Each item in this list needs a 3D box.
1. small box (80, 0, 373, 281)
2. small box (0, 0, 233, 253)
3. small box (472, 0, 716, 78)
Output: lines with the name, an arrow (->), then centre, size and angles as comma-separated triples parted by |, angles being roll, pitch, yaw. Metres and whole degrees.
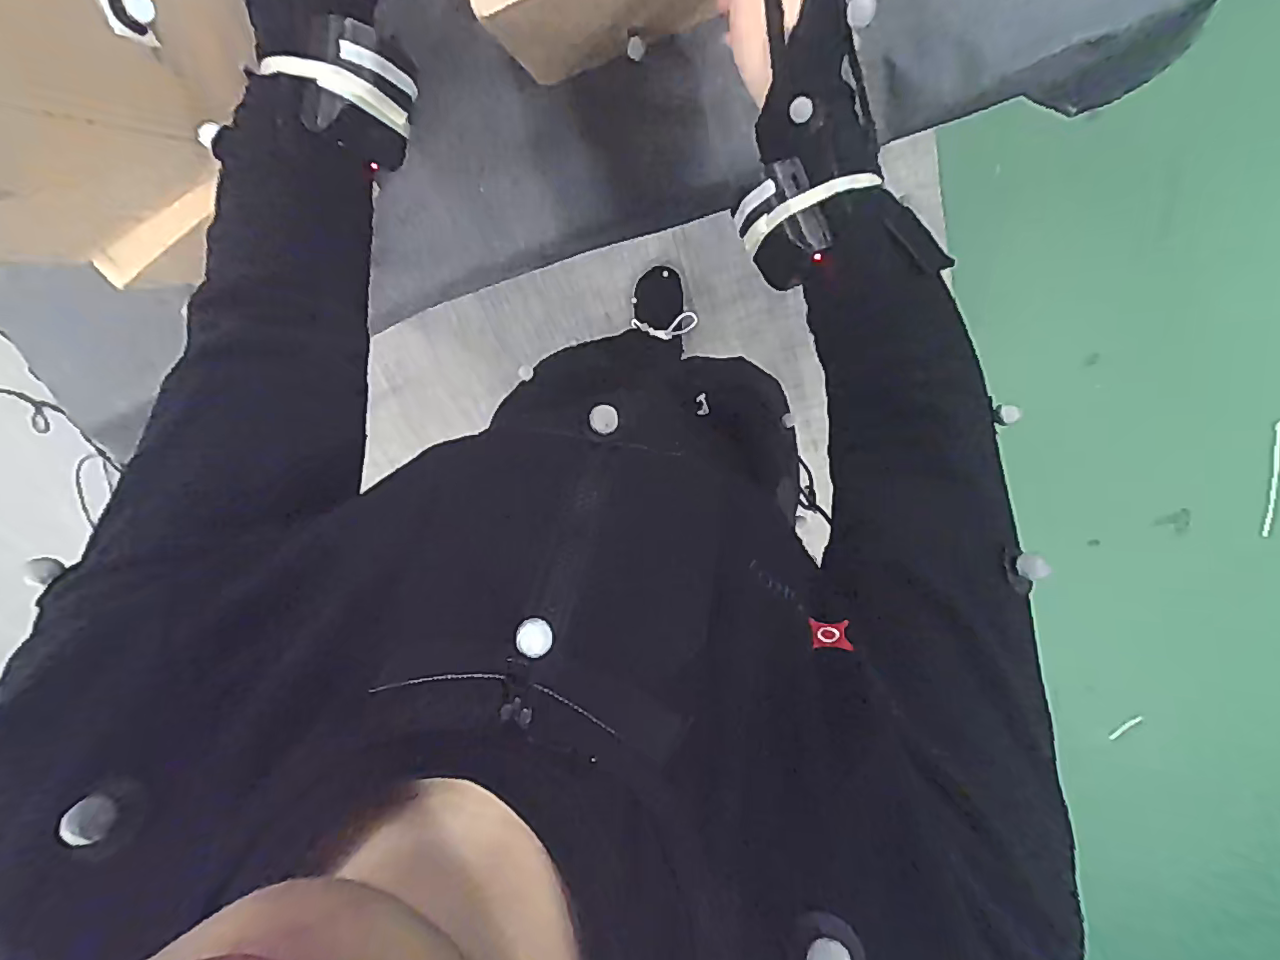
small box -> -0.368, -0.285, 0.440 | 0.168, 0.176, 0.179 | -25, 110, 16
small box -> -0.382, -0.232, 0.287 | 0.179, 0.176, 0.168 | -21, 112, 13
small box -> -0.035, -0.406, 0.356 | 0.179, 0.176, 0.168 | -15, 113, 12
